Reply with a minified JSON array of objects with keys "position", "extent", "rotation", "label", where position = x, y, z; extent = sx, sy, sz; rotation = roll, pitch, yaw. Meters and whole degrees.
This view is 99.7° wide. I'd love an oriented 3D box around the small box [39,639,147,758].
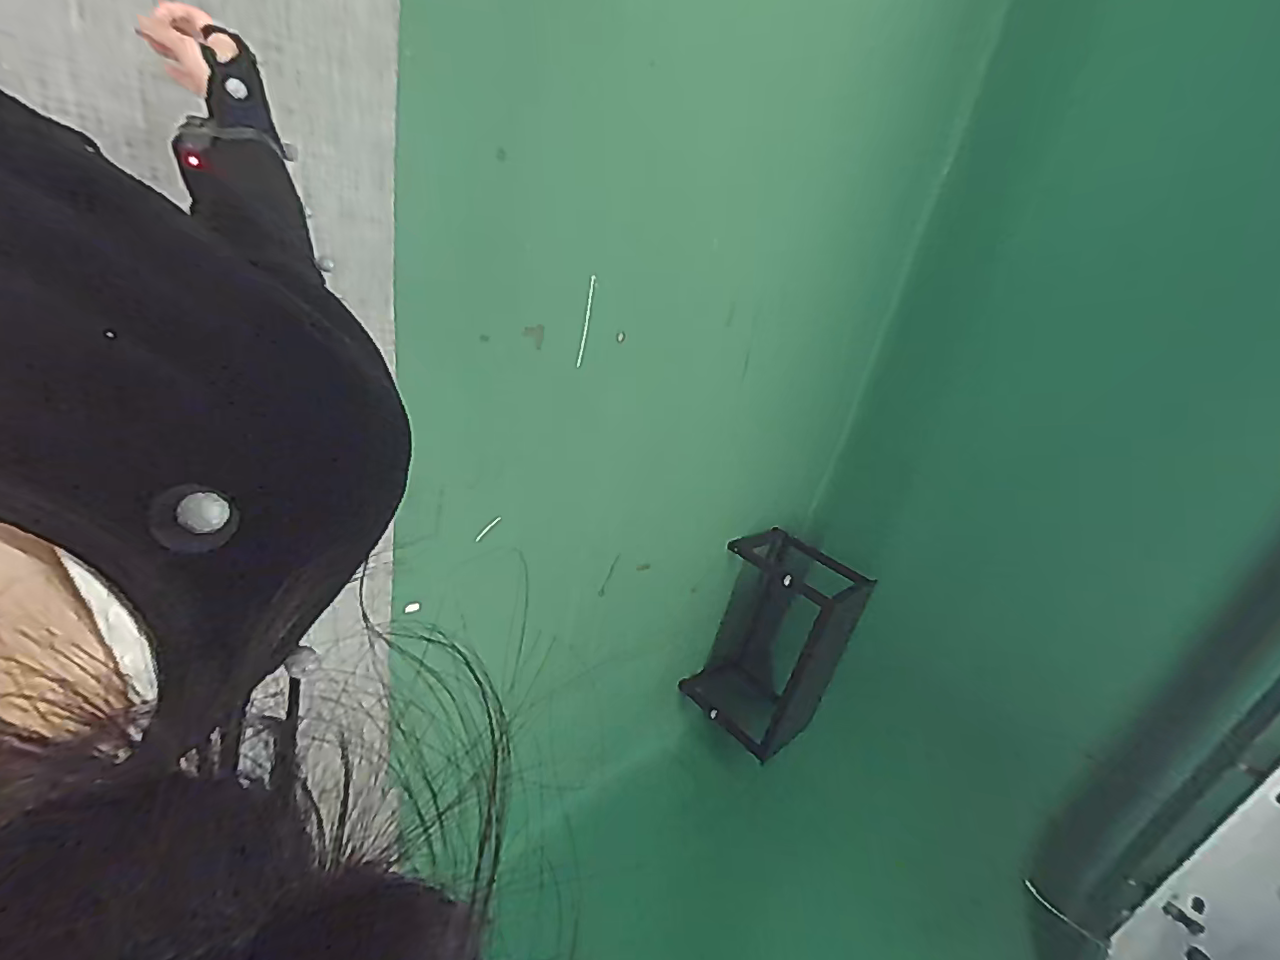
[{"position":[-1.274,0.495,1.261],"extent":[0.168,0.176,0.179],"rotation":[-5,119,-46],"label":"small box"}]
